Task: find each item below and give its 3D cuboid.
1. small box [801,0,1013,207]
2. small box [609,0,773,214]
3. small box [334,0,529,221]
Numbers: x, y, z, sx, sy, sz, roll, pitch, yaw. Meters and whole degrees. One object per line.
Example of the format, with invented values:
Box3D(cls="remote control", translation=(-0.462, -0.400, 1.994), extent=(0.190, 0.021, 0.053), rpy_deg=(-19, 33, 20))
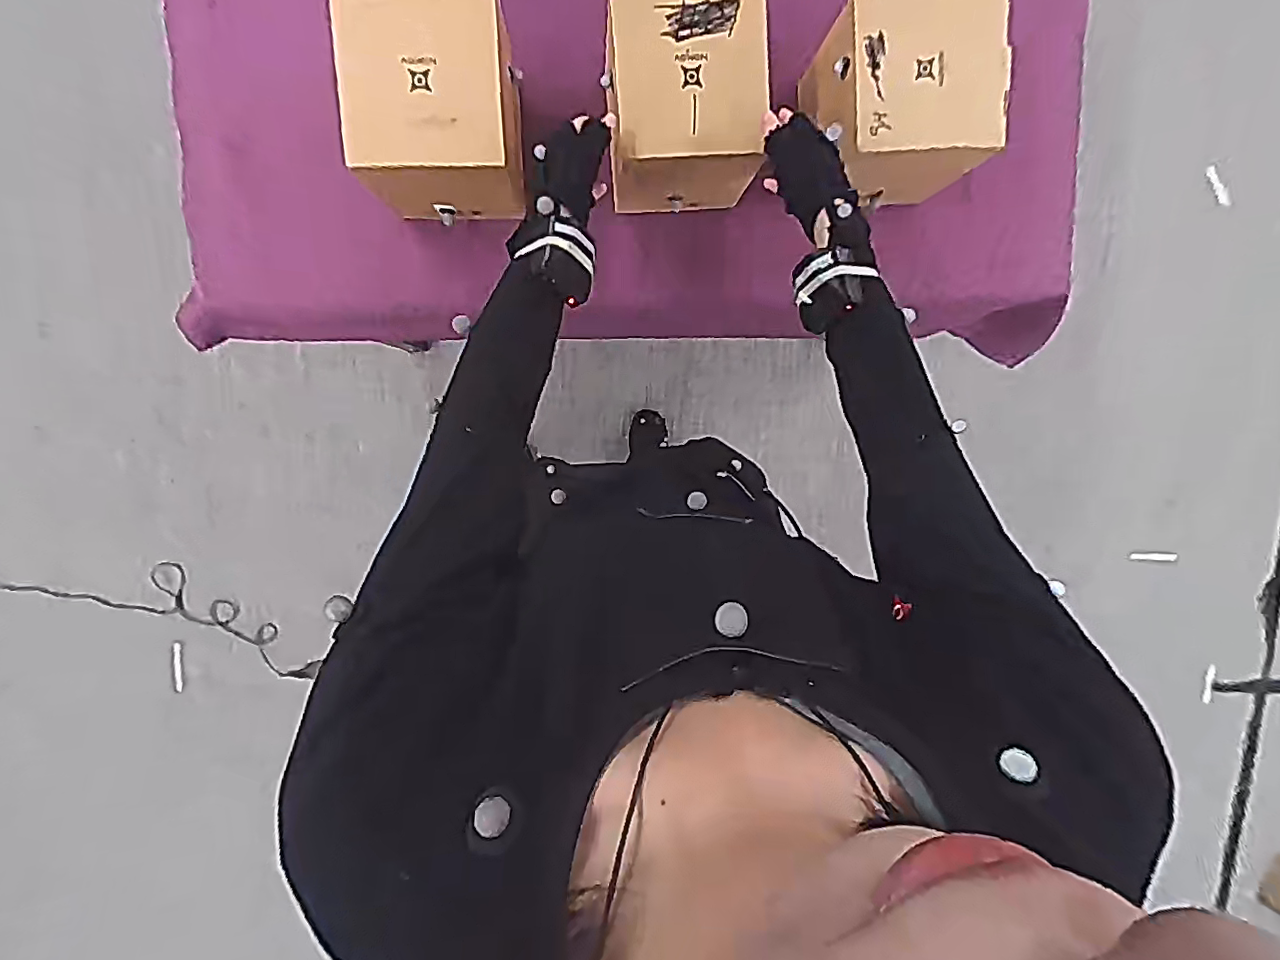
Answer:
Box3D(cls="small box", translation=(0.314, -0.453, 0.666), extent=(0.179, 0.176, 0.168), rpy_deg=(-4, 97, -4))
Box3D(cls="small box", translation=(0.051, -0.442, 0.646), extent=(0.168, 0.176, 0.179), rpy_deg=(-4, 98, -3))
Box3D(cls="small box", translation=(-0.226, -0.422, 0.628), extent=(0.168, 0.176, 0.179), rpy_deg=(-3, 98, -3))
